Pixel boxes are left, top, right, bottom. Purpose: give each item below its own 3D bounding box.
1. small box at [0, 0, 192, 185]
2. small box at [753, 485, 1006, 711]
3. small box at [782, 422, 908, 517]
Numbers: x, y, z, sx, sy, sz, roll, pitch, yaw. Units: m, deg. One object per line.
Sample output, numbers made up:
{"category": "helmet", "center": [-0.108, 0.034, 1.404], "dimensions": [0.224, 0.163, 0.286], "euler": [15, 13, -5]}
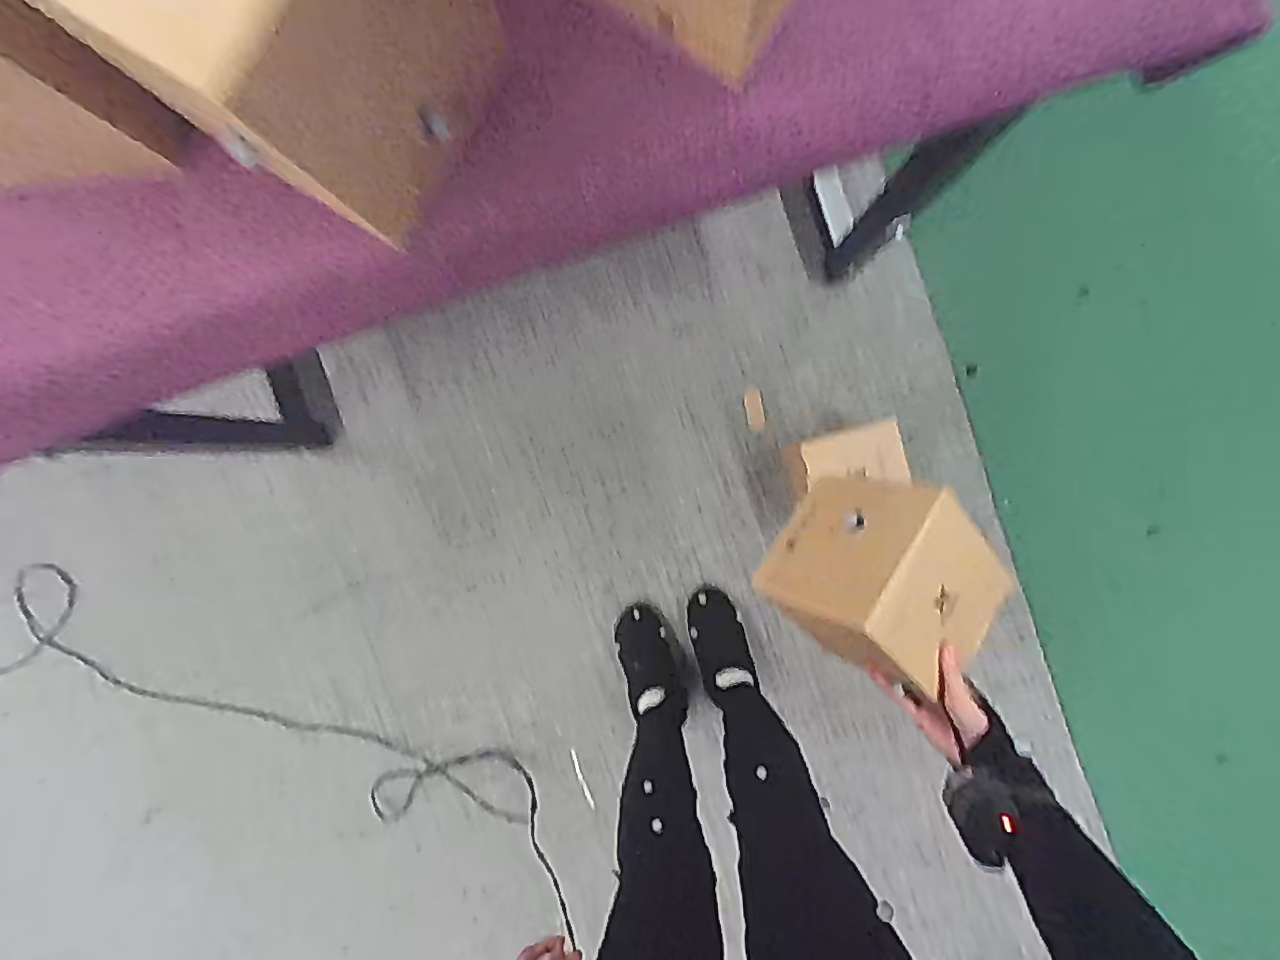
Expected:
{"category": "small box", "center": [-0.429, -0.303, 0.327], "dimensions": [0.179, 0.176, 0.168], "euler": [-5, 92, 1]}
{"category": "small box", "center": [0.263, 0.119, 0.611], "dimensions": [0.179, 0.176, 0.168], "euler": [42, 76, -26]}
{"category": "small box", "center": [0.383, -0.006, 1.038], "dimensions": [0.179, 0.176, 0.168], "euler": [-15, 92, 2]}
